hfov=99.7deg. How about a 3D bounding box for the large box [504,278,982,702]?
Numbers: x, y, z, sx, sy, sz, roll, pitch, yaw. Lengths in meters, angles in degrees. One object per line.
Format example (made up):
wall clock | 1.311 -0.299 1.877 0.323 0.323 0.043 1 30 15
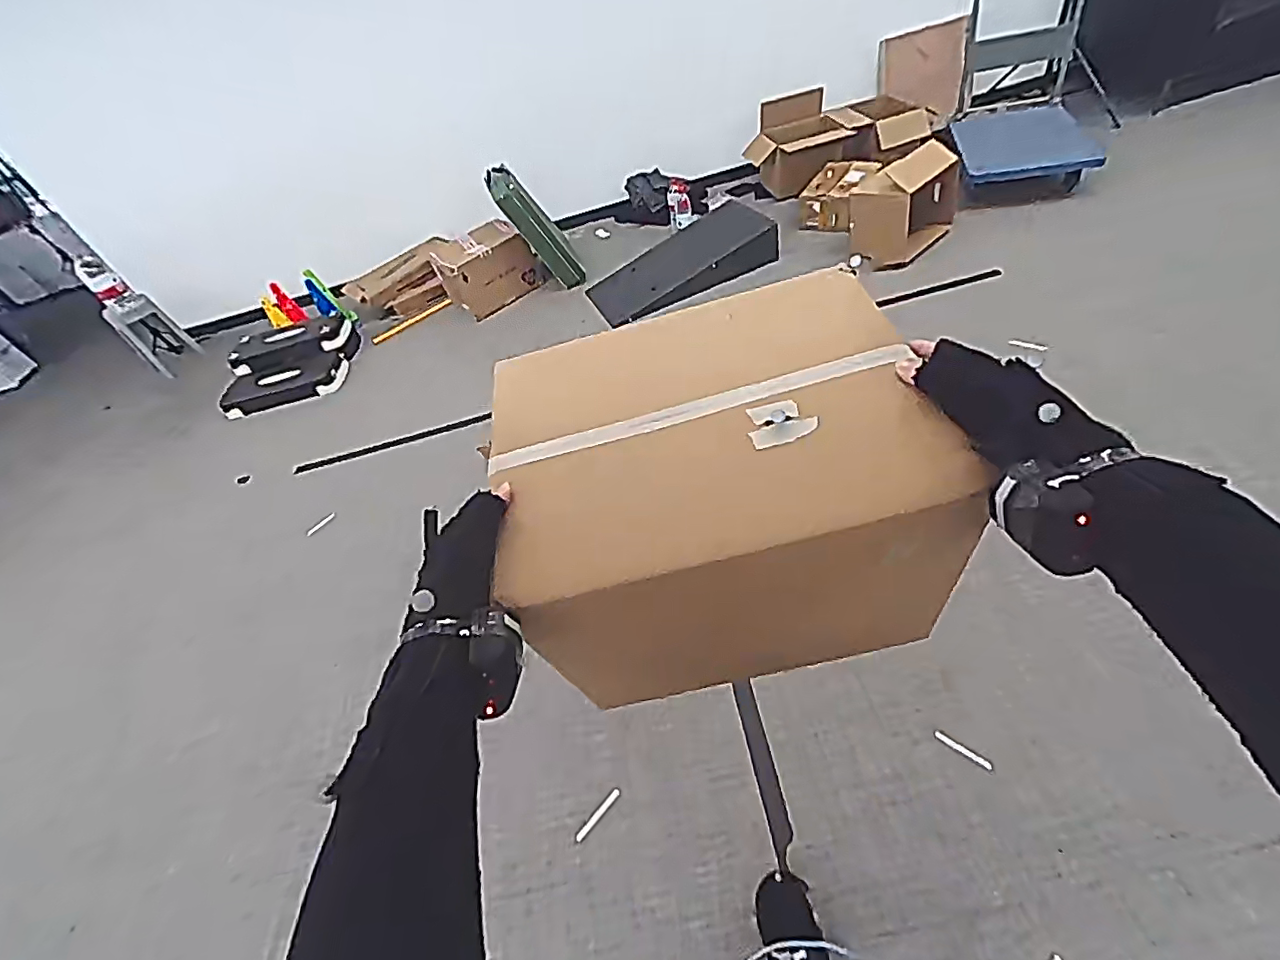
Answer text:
large box | 0.086 0.027 0.642 0.408 0.320 0.320 -15 52 4
